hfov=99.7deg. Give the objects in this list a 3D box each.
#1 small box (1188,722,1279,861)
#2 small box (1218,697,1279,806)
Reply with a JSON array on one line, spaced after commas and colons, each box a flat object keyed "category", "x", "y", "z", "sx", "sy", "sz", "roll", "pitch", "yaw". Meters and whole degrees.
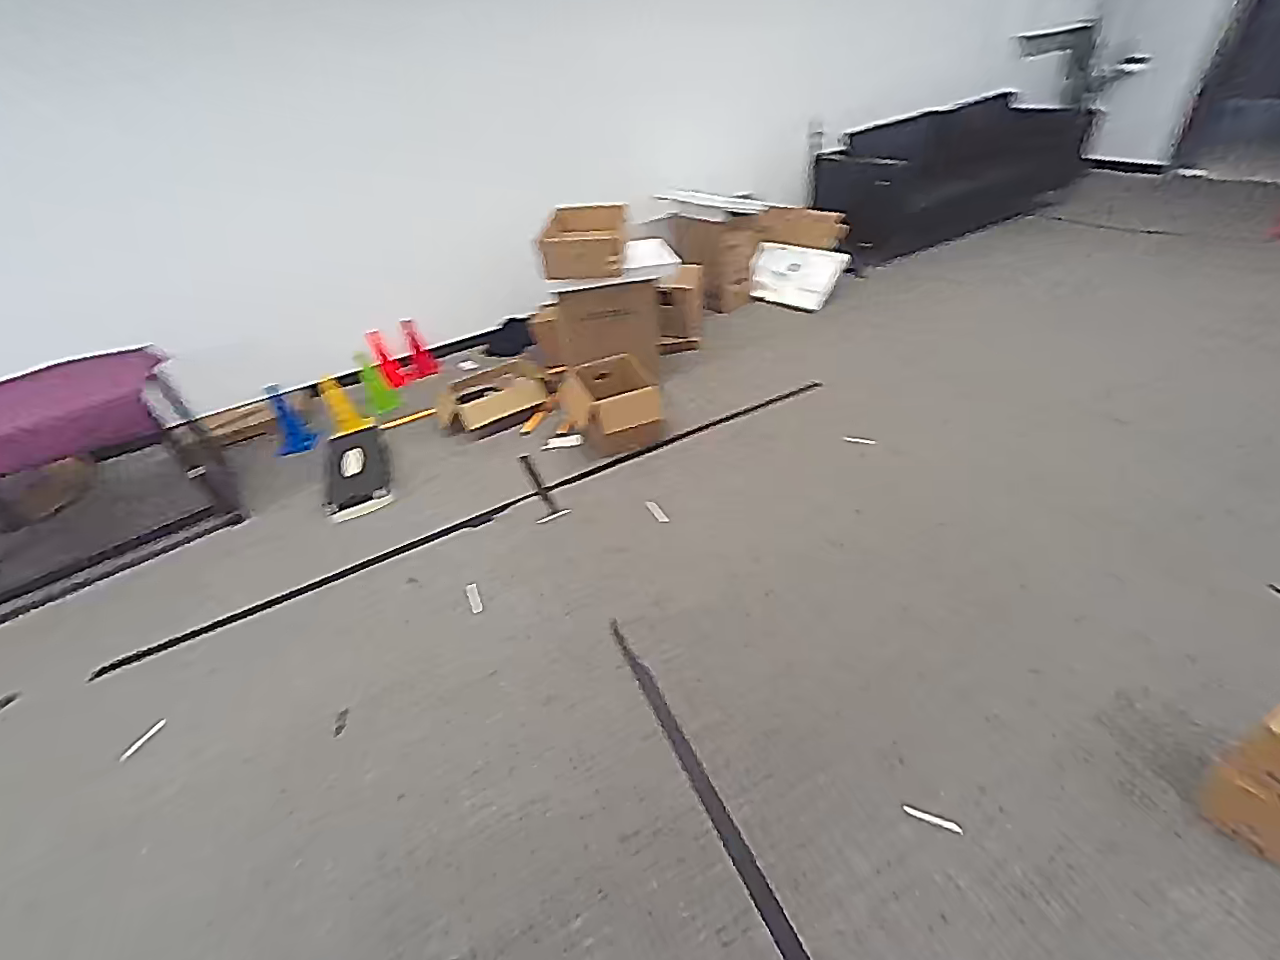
[{"category": "small box", "x": 1.375, "y": 0.686, "z": 1.194, "sx": 0.179, "sy": 0.176, "sz": 0.168, "roll": -31, "pitch": 42, "yaw": -26}, {"category": "small box", "x": 1.357, "y": 0.553, "z": 1.101, "sx": 0.179, "sy": 0.176, "sz": 0.168, "roll": -22, "pitch": 40, "yaw": -16}]
